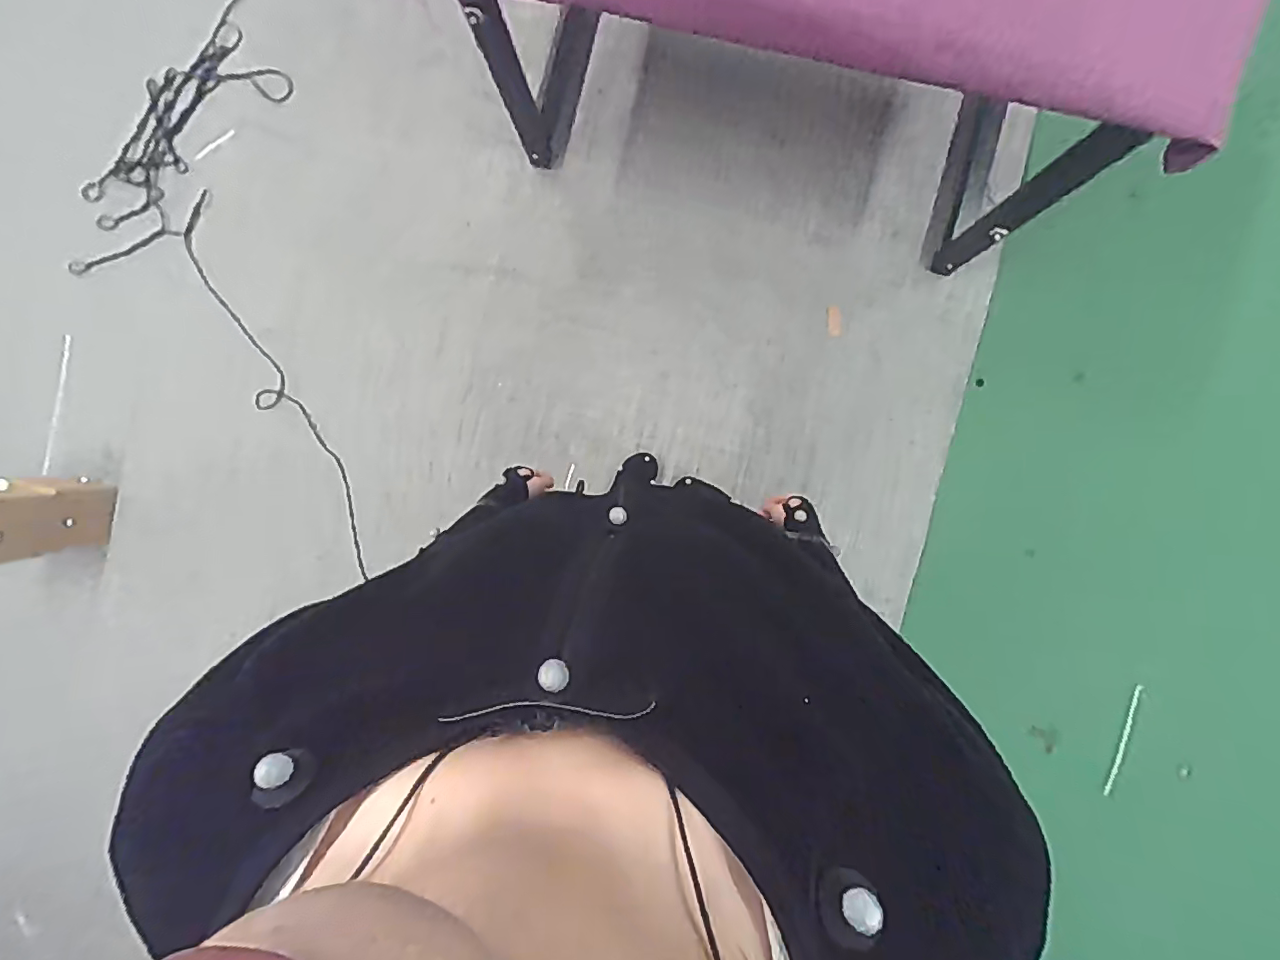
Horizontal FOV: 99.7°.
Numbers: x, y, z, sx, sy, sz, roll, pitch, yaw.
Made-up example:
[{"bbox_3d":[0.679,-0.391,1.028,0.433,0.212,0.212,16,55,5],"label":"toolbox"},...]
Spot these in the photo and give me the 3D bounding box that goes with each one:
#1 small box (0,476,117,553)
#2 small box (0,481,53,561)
[{"bbox_3d":[-1.627,0.090,1.510,0.168,0.176,0.179,13,92,2],"label":"small box"},{"bbox_3d":[-1.638,0.105,1.347,0.168,0.176,0.179,13,92,1],"label":"small box"}]
